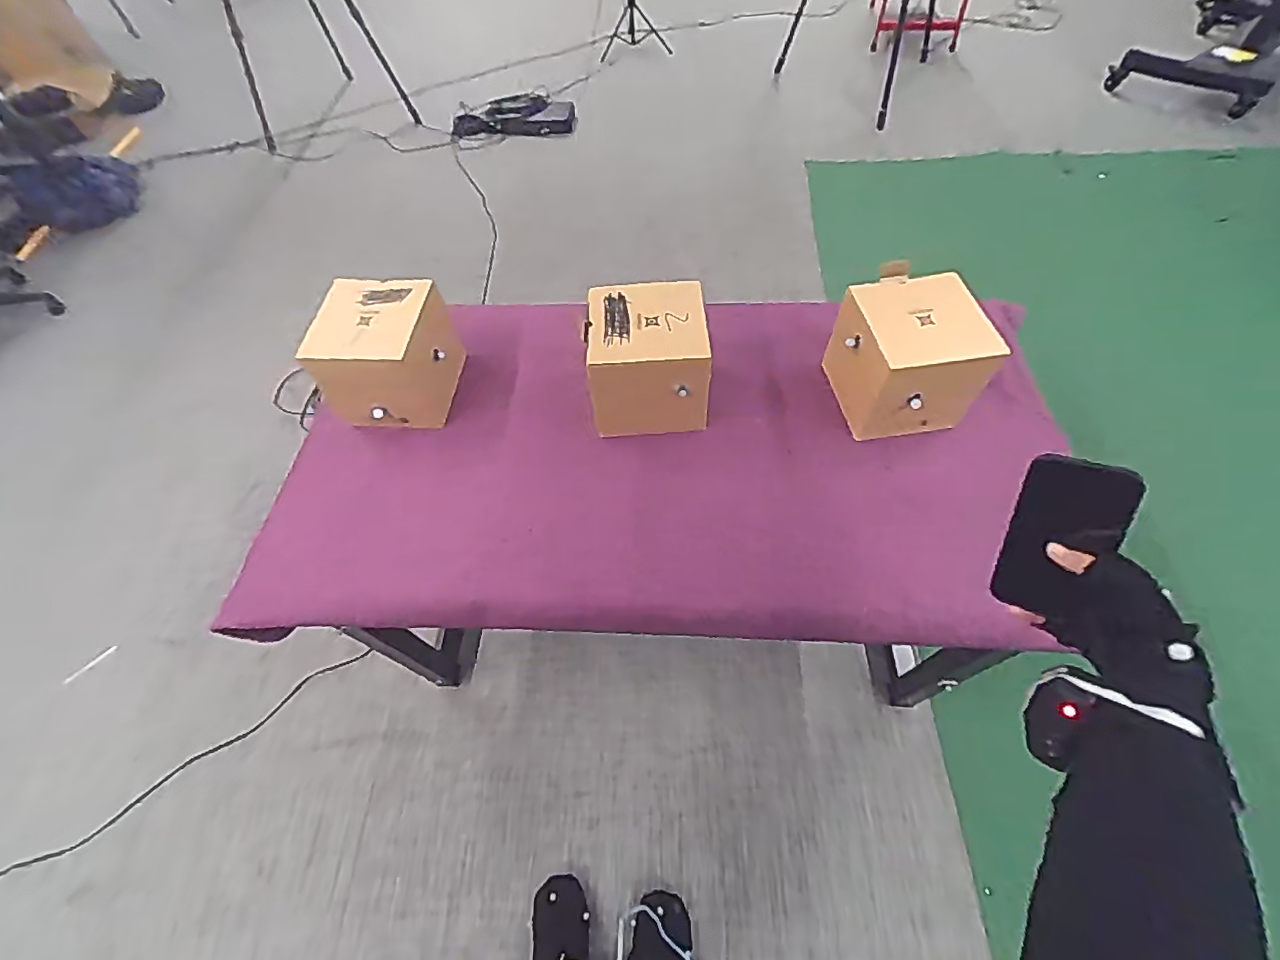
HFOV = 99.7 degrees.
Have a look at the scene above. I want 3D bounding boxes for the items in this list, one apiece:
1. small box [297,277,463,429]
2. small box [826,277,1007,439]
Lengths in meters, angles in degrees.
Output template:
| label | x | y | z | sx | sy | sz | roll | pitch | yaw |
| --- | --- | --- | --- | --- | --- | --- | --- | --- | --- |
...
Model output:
| label | x | y | z | sx | sy | sz | roll | pitch | yaw |
| --- | --- | --- | --- | --- | --- | --- | --- | --- | --- |
| small box | -0.407 | -0.206 | 0.888 | 0.168 | 0.176 | 0.179 | 2 | 60 | 5 |
| small box | 0.404 | -0.177 | 0.828 | 0.168 | 0.176 | 0.179 | -8 | 57 | -1 |
